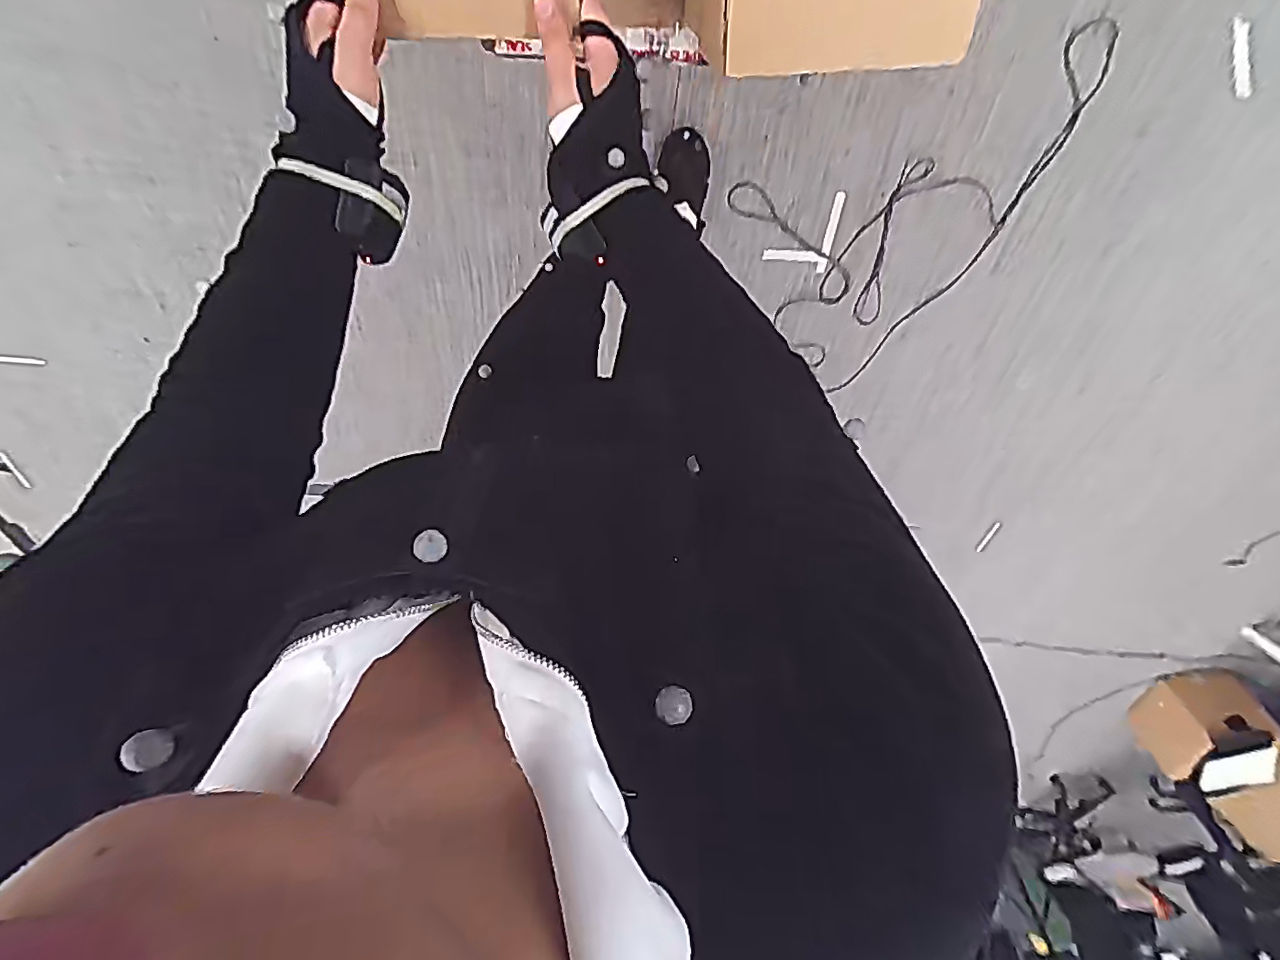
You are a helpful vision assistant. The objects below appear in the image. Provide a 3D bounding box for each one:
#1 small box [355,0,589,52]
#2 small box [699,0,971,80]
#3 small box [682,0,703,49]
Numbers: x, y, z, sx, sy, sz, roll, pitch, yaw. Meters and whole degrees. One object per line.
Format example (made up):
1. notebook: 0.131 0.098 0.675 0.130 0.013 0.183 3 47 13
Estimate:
1. small box: -0.128 -0.446 0.410 0.168 0.176 0.179 -2 135 0
2. small box: 0.139 -0.413 0.404 0.179 0.176 0.168 -3 134 0
3. small box: 0.136 -0.533 0.521 0.179 0.176 0.168 -2 134 1
